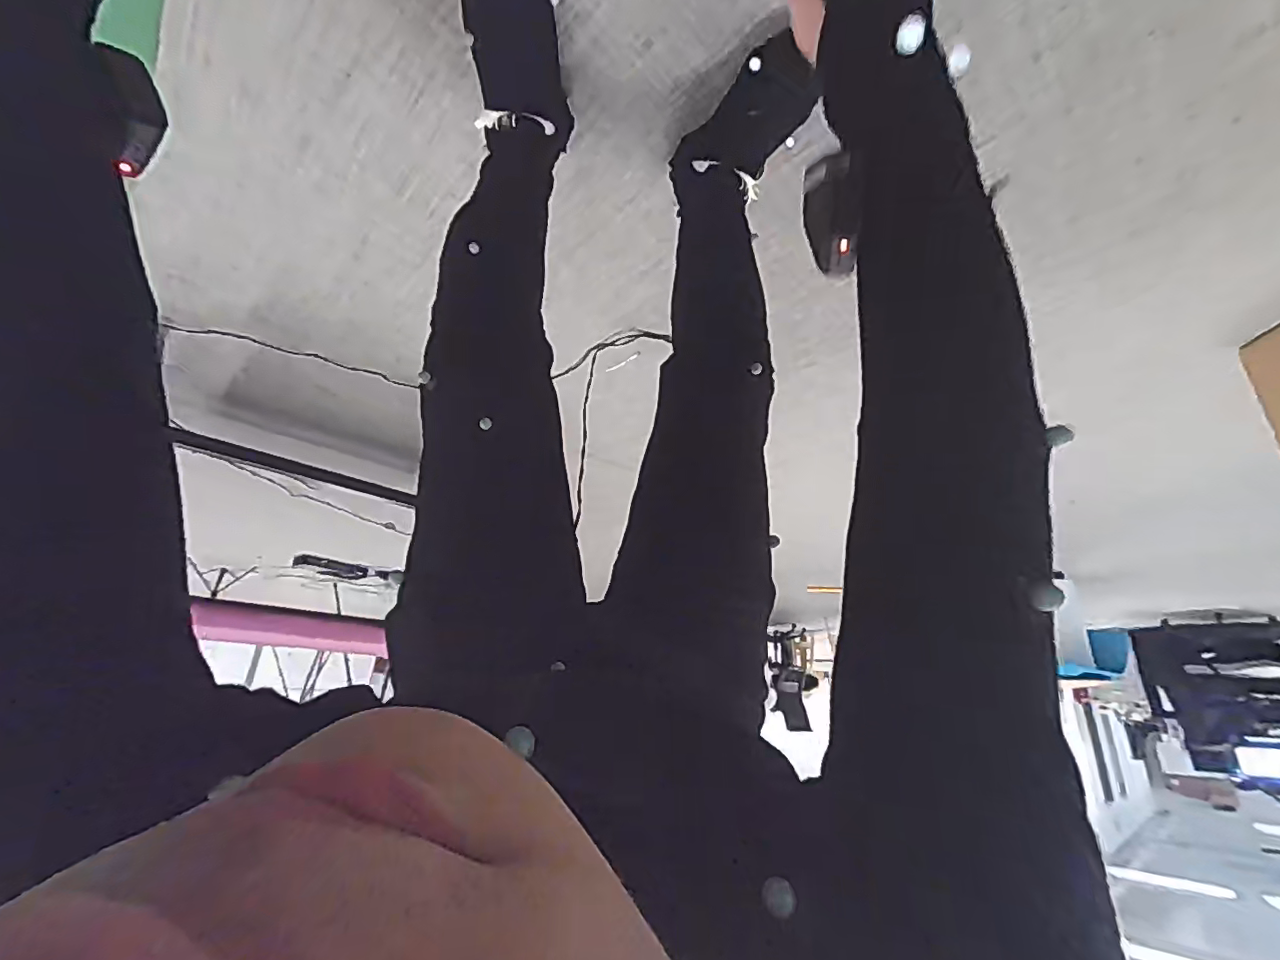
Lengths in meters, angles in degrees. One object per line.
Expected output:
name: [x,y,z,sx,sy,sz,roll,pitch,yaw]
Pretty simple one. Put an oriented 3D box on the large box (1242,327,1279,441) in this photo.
large box: [1.553,-0.237,1.036,0.320,0.320,0.408,1,156,3]
